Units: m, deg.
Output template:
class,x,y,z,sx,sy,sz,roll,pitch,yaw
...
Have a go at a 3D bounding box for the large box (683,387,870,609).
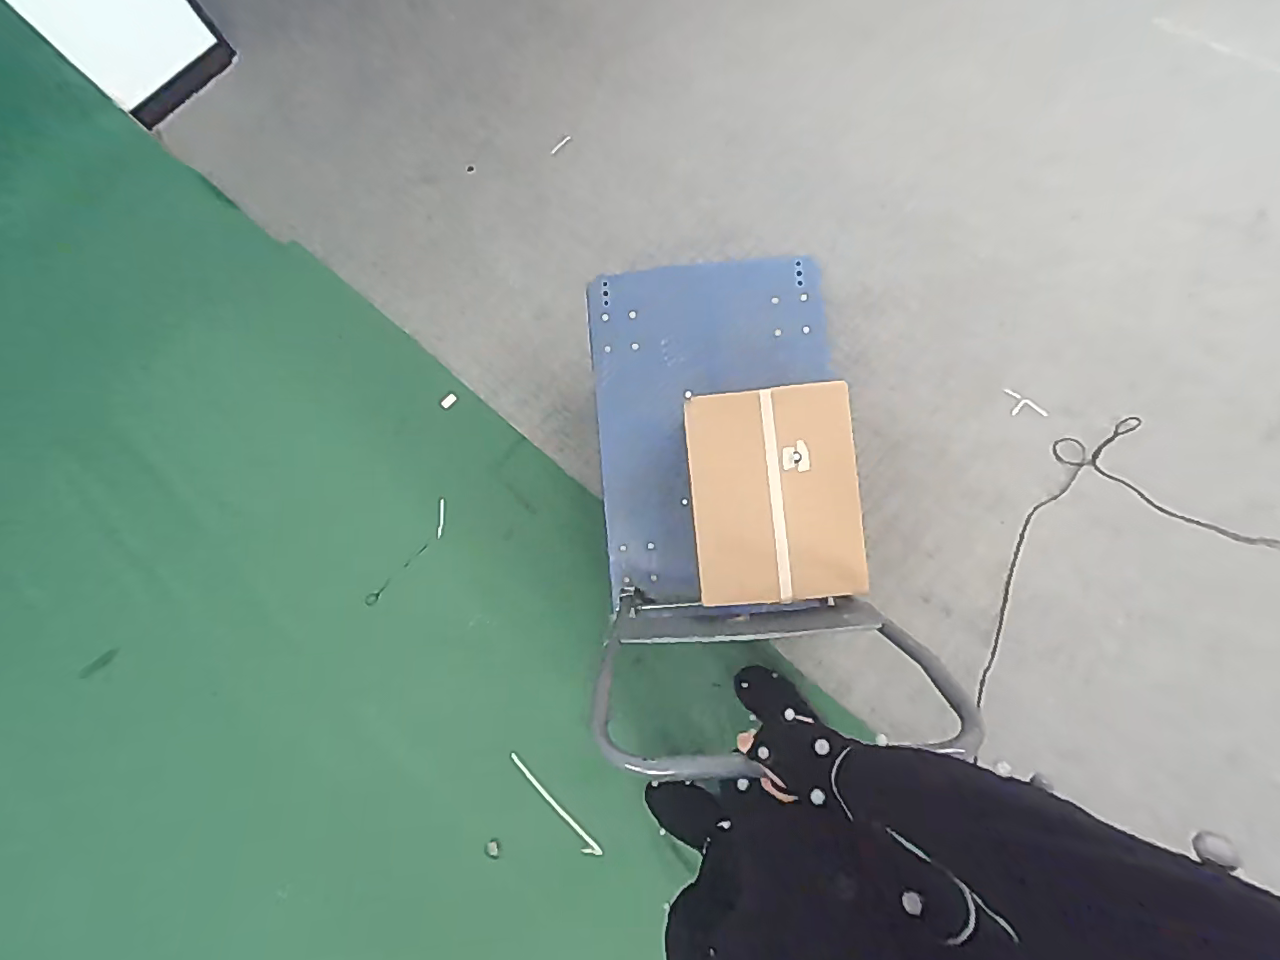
class,x,y,z,sx,sy,sz,roll,pitch,yaw
large box,0.270,0.042,1.183,0.320,0.320,0.408,-6,87,3
